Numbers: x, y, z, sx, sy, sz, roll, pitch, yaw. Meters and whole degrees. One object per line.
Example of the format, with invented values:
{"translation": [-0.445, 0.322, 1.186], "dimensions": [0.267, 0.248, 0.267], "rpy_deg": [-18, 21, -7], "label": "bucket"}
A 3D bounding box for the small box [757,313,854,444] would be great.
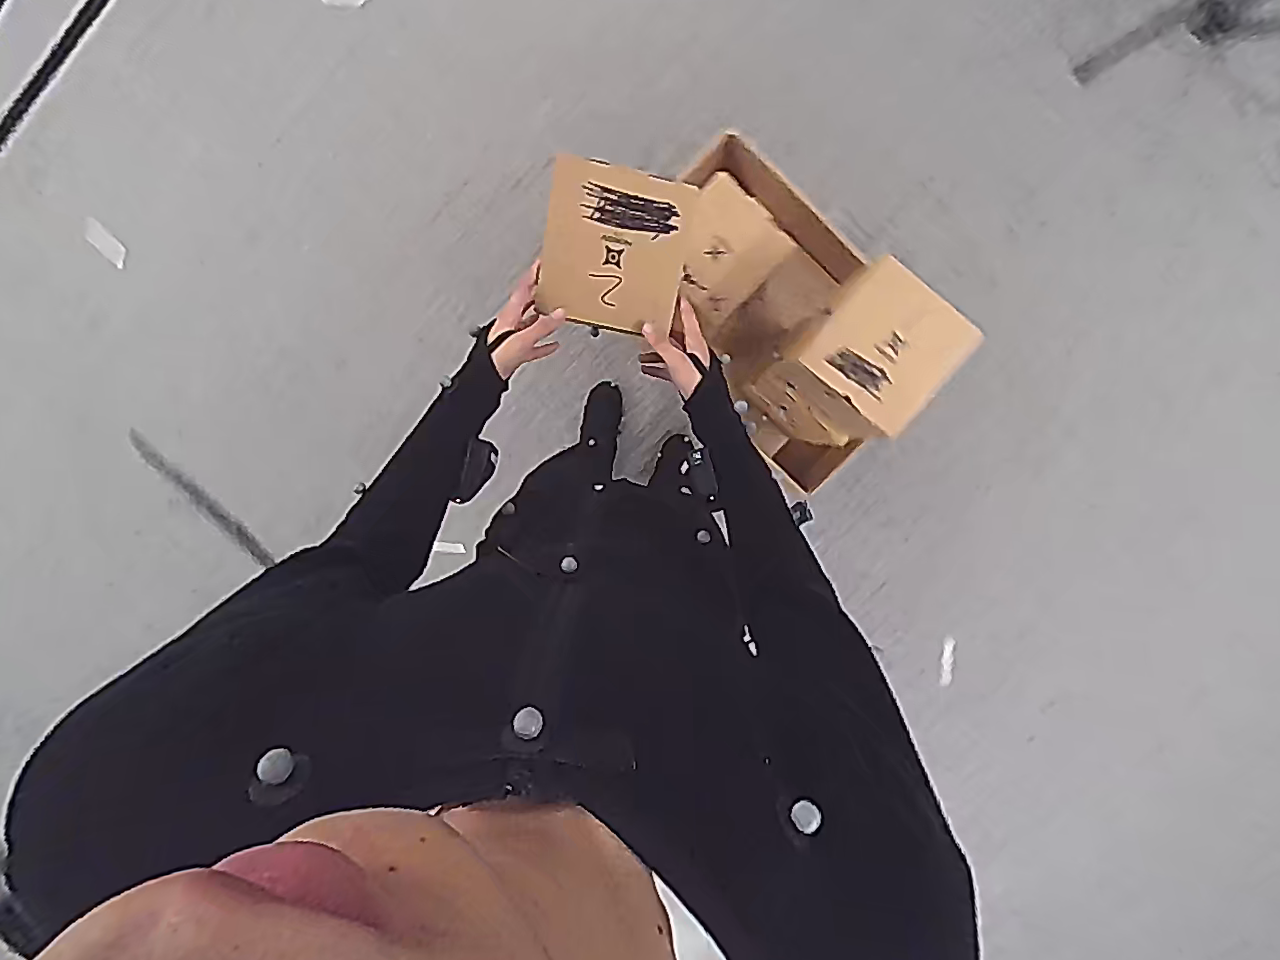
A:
{"translation": [0.325, -0.182, 0.934], "dimensions": [0.168, 0.176, 0.179], "rpy_deg": [42, 97, -3], "label": "small box"}

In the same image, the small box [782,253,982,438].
{"translation": [0.323, -0.178, 0.770], "dimensions": [0.168, 0.176, 0.179], "rpy_deg": [39, 96, -3], "label": "small box"}

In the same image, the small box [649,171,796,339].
{"translation": [0.129, -0.369, 0.921], "dimensions": [0.179, 0.176, 0.168], "rpy_deg": [-44, 91, 4], "label": "small box"}
